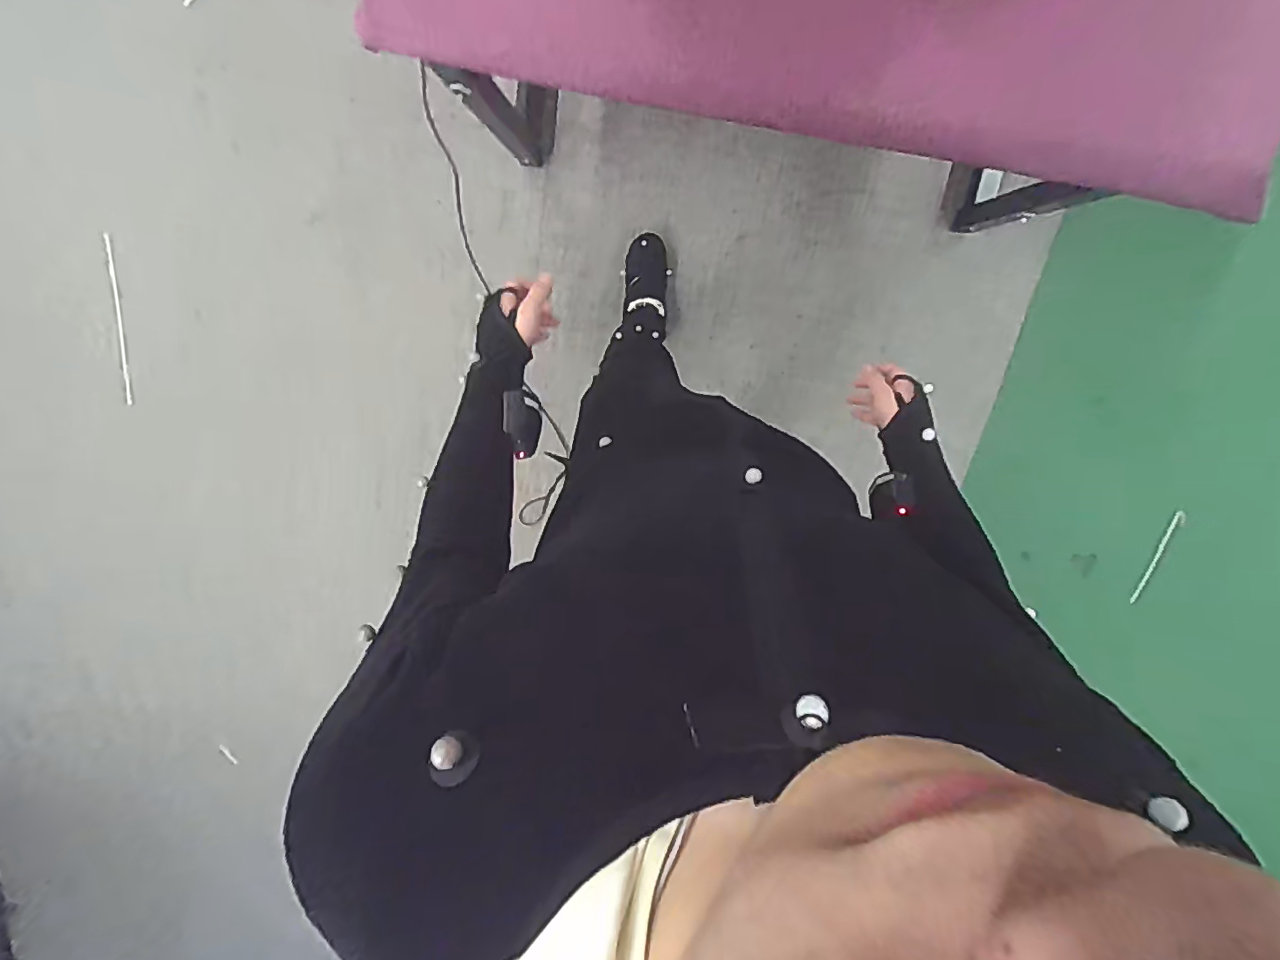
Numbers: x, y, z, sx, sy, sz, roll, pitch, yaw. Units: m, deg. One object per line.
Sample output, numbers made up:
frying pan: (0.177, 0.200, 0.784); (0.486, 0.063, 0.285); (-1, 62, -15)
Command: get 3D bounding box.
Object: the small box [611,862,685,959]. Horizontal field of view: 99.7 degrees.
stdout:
small box: (0.021, 1.255, 1.570); (0.179, 0.176, 0.168); (14, 107, -3)
